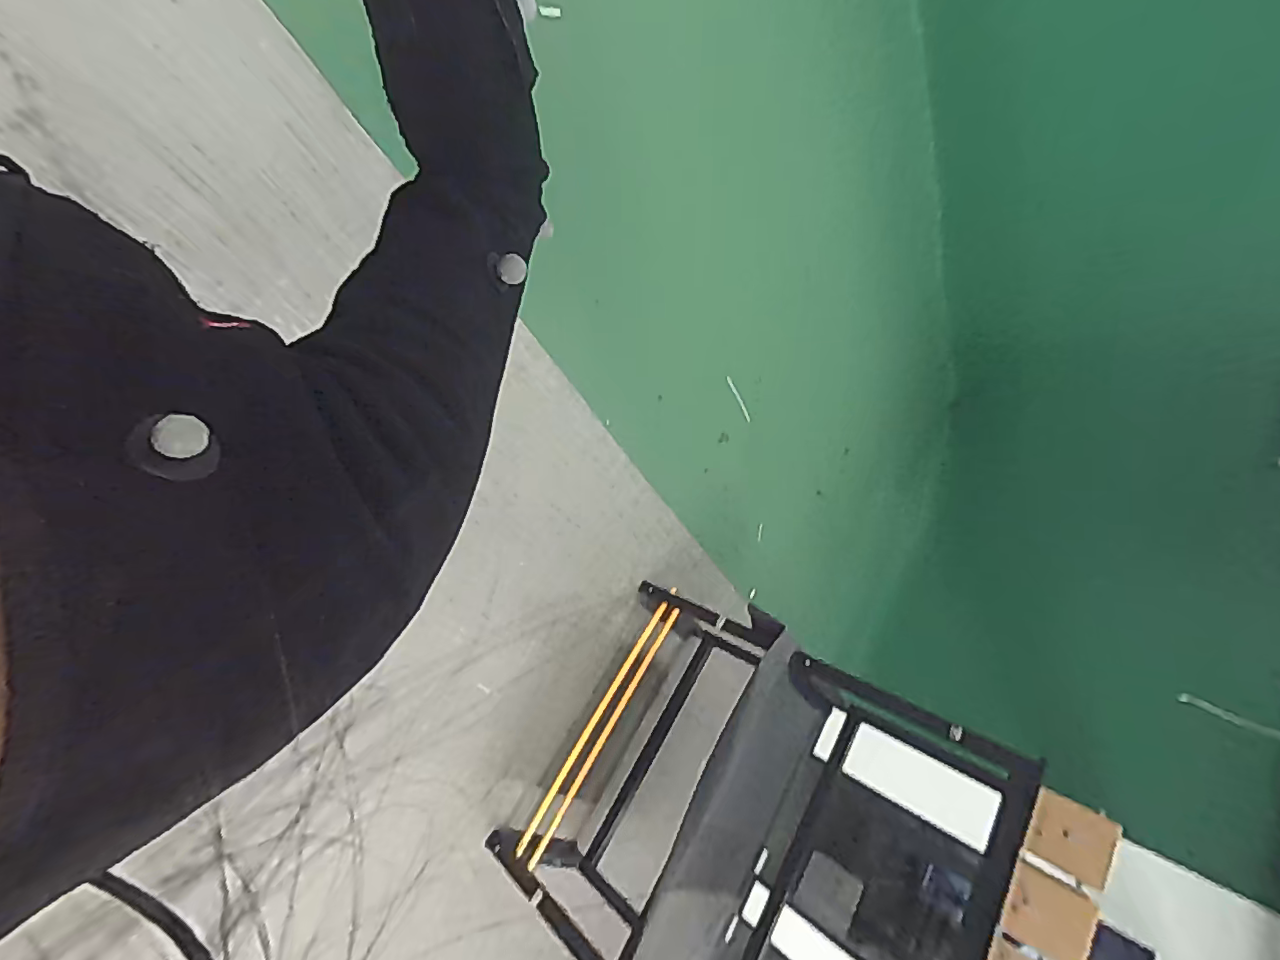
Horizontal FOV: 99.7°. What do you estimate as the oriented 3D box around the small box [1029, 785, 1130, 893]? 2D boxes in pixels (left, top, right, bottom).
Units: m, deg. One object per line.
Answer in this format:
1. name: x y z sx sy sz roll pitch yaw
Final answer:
1. small box: 1.123 0.915 1.391 0.179 0.176 0.168 40 74 -46
